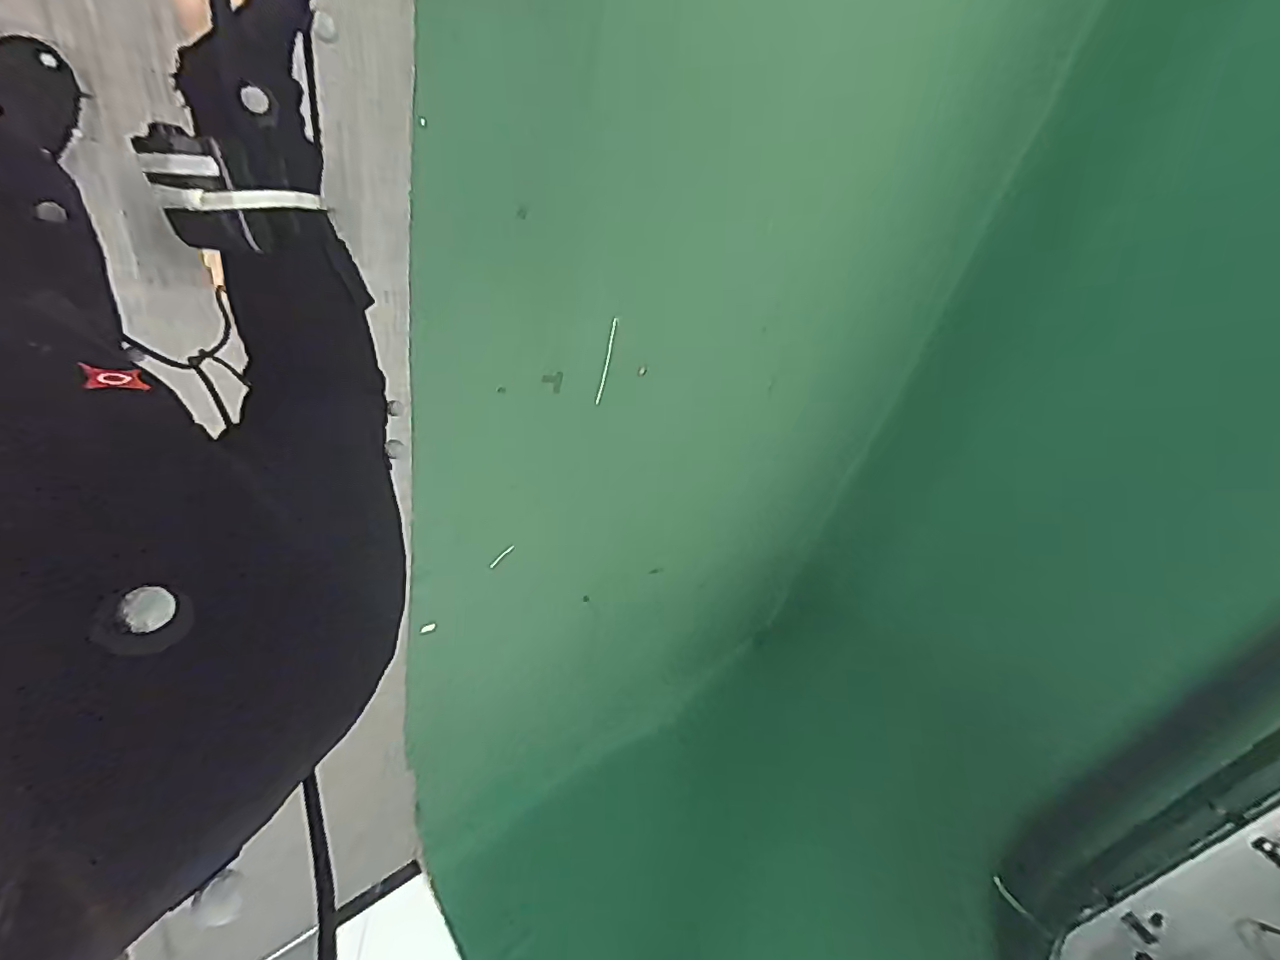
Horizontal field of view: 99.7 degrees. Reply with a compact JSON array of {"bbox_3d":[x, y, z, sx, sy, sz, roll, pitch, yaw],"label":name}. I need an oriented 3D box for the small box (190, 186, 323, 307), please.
[{"bbox_3d":[-0.713,-0.433,1.006,0.179,0.176,0.168,-13,131,-39],"label":"small box"}]
